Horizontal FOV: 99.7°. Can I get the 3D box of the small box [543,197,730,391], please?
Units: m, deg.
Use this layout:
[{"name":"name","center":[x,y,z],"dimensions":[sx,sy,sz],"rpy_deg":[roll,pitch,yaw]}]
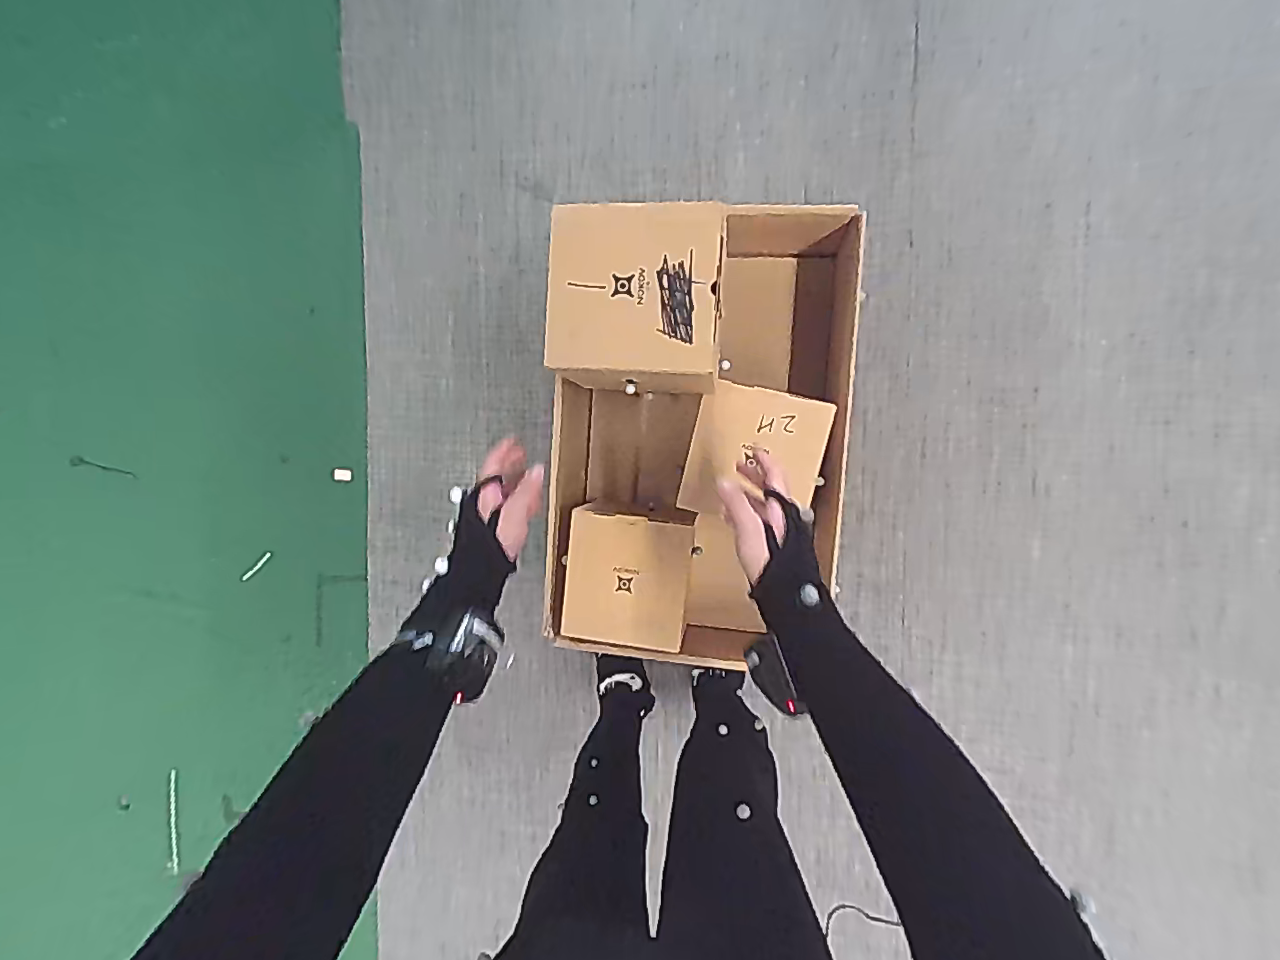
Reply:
[{"name":"small box","center":[0.006,-0.194,0.607],"dimensions":[0.179,0.176,0.168],"rpy_deg":[5,93,9]}]
